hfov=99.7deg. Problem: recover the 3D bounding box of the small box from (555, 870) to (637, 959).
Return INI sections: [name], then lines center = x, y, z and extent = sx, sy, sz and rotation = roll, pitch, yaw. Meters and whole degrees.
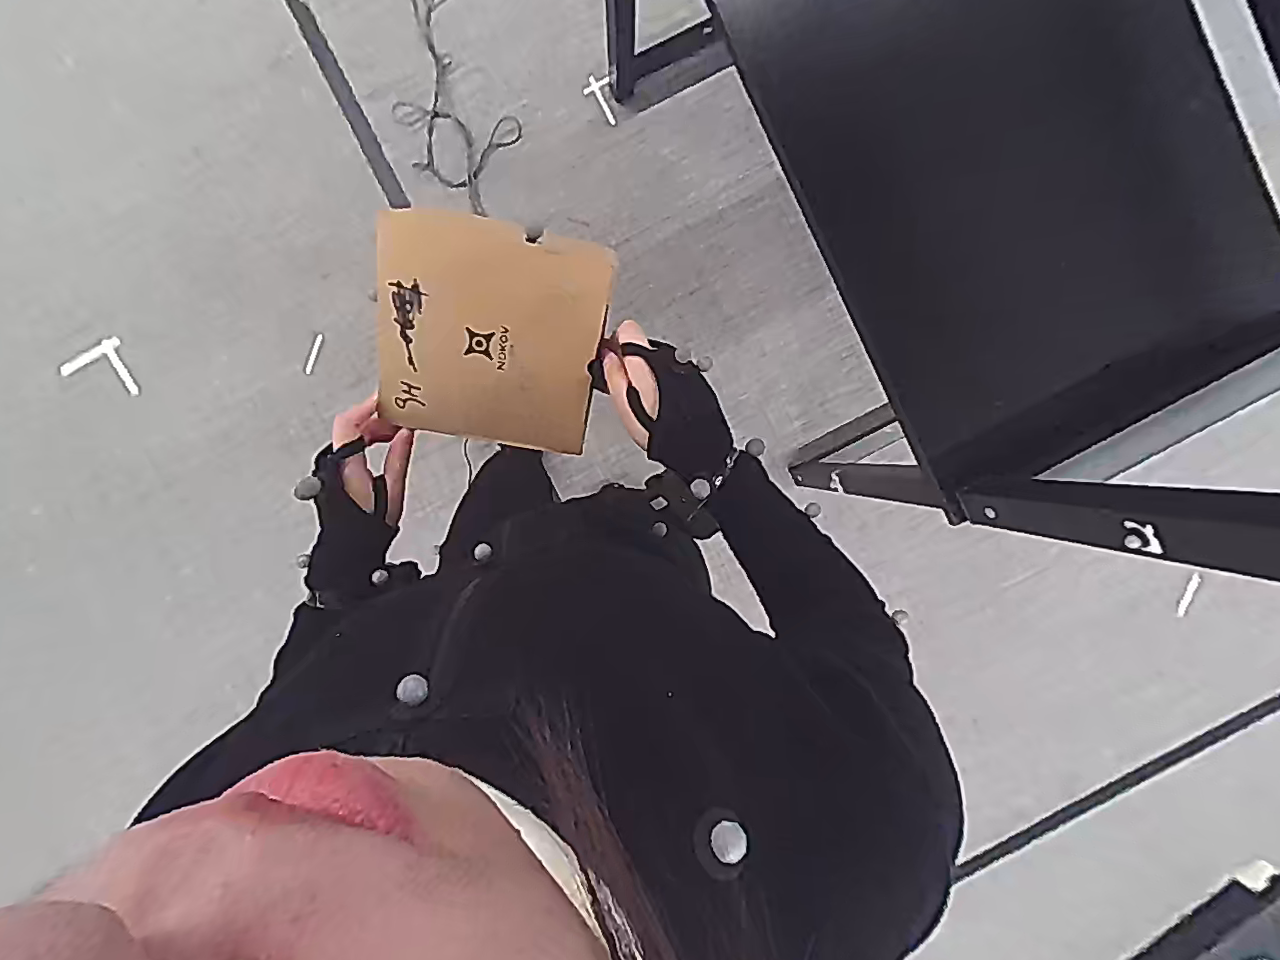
[small box]
center = -0.116, 1.198, 1.452
extent = 0.168, 0.176, 0.179
rotation = -21, 94, 0
